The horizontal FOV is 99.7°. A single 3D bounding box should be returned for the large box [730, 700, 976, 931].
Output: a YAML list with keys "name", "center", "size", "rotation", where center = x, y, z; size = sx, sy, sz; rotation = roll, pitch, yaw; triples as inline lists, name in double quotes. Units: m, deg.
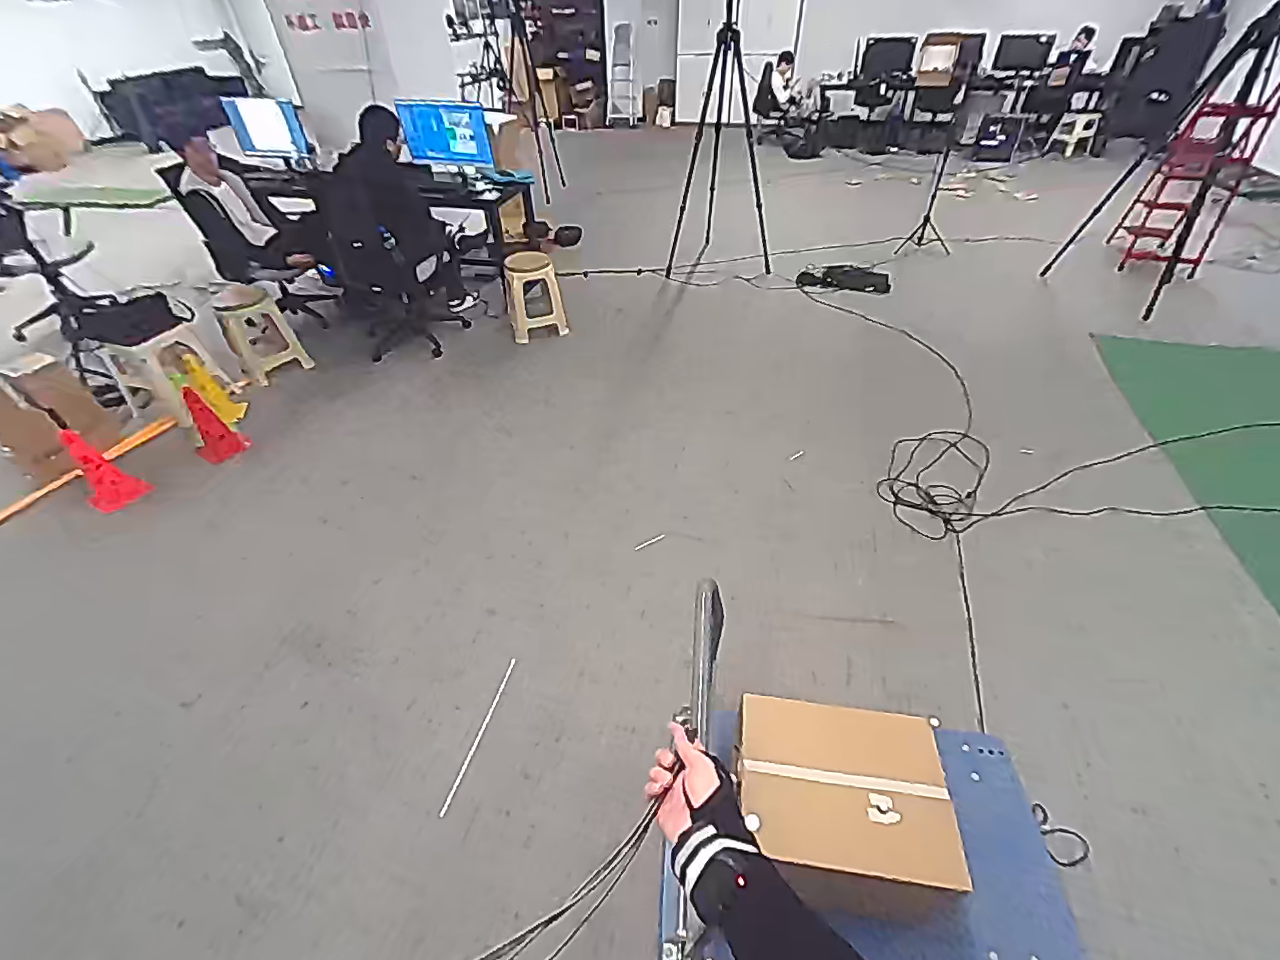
- name: "large box"
  center: [0.411, 0.718, 1.166]
  size: [0.408, 0.320, 0.320]
  rotation: [6, 43, 7]
